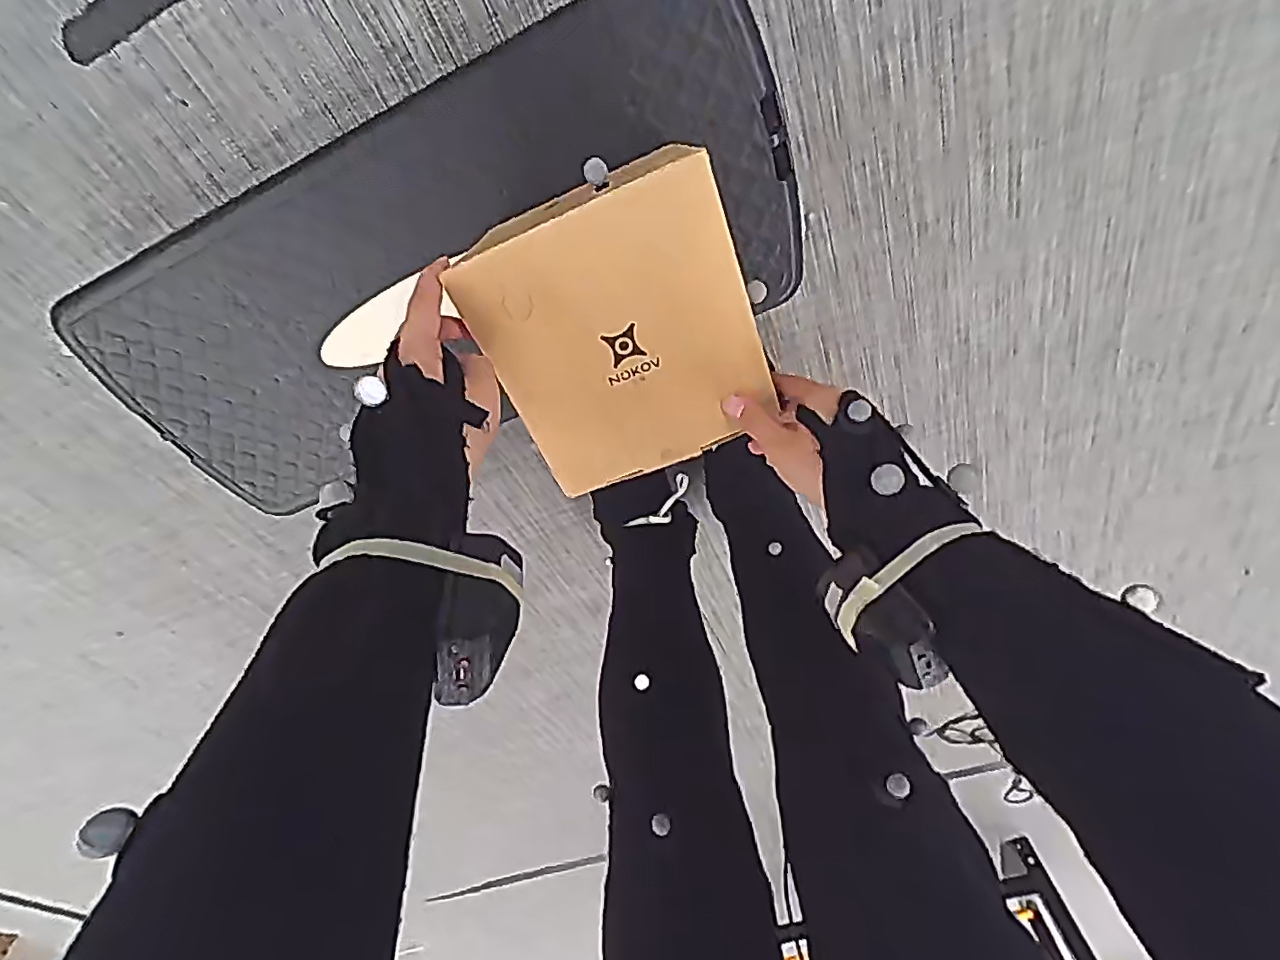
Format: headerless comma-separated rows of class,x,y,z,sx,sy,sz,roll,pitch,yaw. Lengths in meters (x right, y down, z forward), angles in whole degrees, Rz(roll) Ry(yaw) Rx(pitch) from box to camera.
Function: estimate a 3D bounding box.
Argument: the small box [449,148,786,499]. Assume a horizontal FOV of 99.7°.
small box,-0.012,-0.121,0.406,0.168,0.176,0.179,-21,122,8
